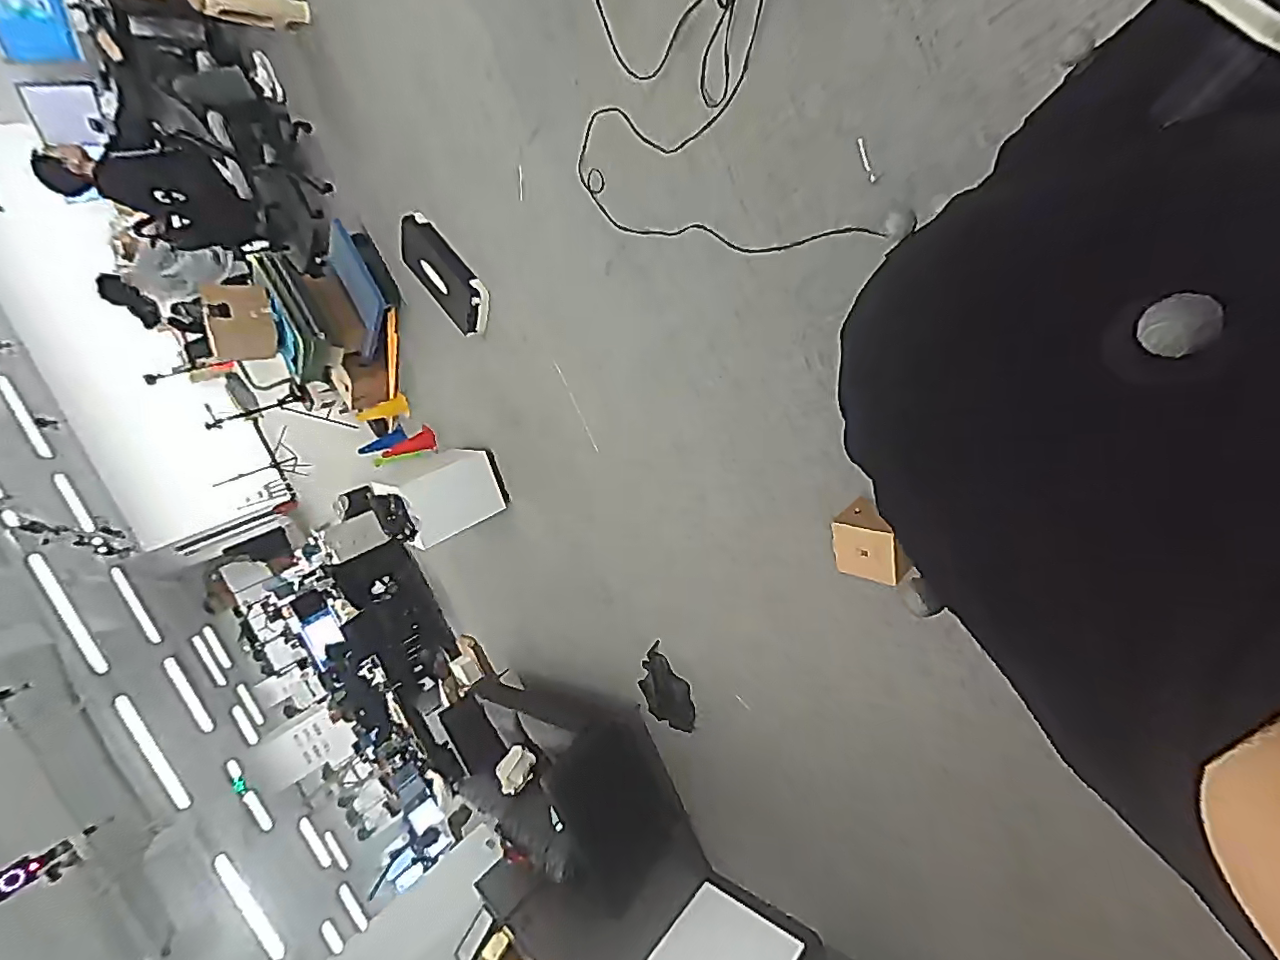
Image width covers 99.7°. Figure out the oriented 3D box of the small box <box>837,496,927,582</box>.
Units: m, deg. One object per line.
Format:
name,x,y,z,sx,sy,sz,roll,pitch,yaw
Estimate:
small box,0.682,0.158,1.521,0.179,0.176,0.168,9,121,47
